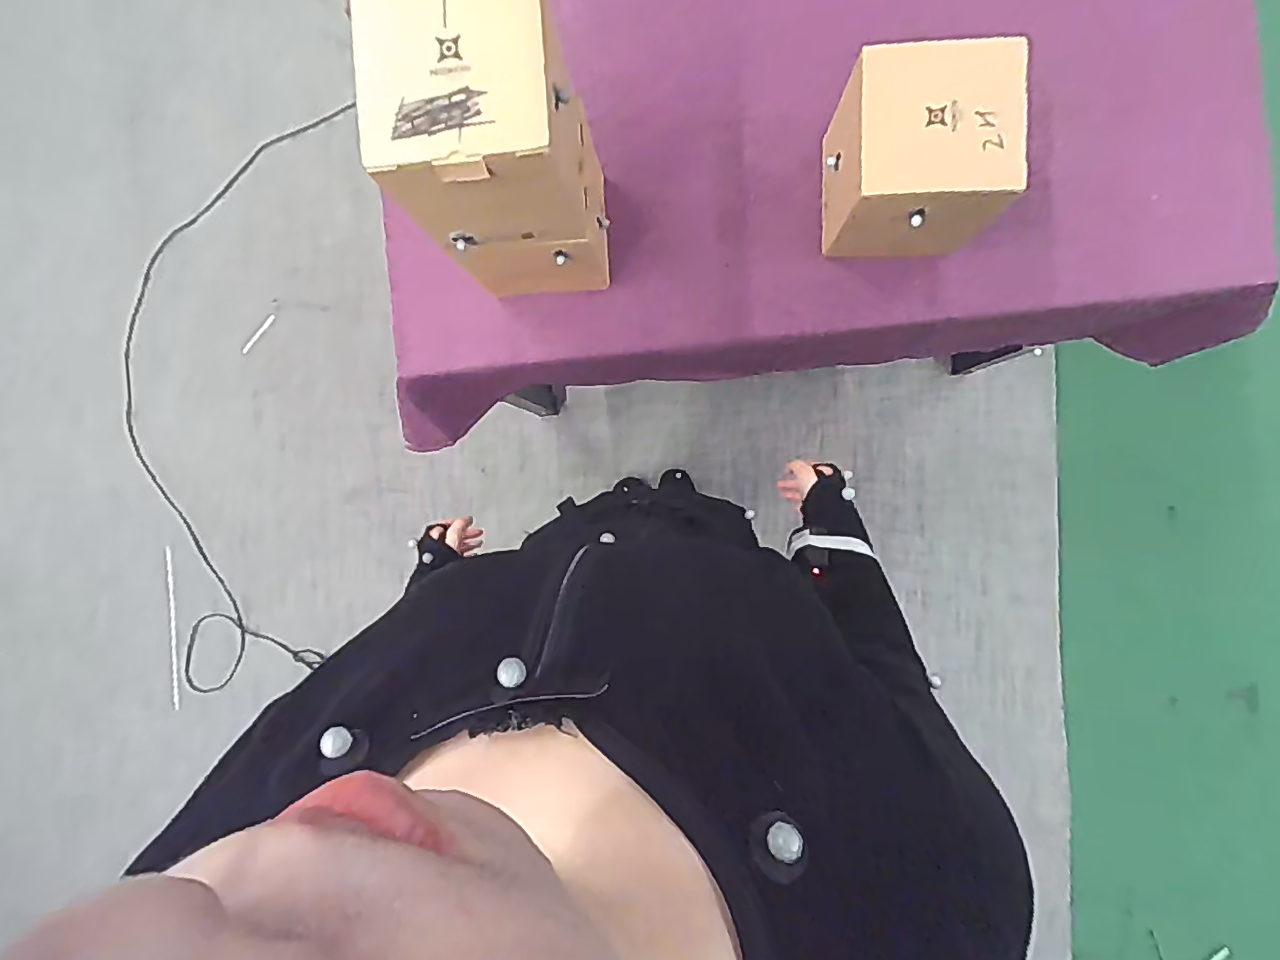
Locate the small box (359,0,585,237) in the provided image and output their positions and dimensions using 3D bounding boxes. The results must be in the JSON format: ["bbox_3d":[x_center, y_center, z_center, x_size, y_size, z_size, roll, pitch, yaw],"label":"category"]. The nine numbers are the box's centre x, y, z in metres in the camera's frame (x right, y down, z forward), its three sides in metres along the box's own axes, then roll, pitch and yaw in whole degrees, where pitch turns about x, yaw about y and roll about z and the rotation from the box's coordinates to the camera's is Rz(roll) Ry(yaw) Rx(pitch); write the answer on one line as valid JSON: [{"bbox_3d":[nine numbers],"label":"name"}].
[{"bbox_3d":[-0.152,-0.362,0.540,0.168,0.176,0.179,-3,89,4],"label":"small box"}]

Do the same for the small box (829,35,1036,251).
[{"bbox_3d":[0.338,-0.392,0.660,0.179,0.176,0.168,2,92,5],"label":"small box"}]

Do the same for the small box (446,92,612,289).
[{"bbox_3d":[-0.137,-0.359,0.704,0.179,0.176,0.168,-3,90,4],"label":"small box"}]
